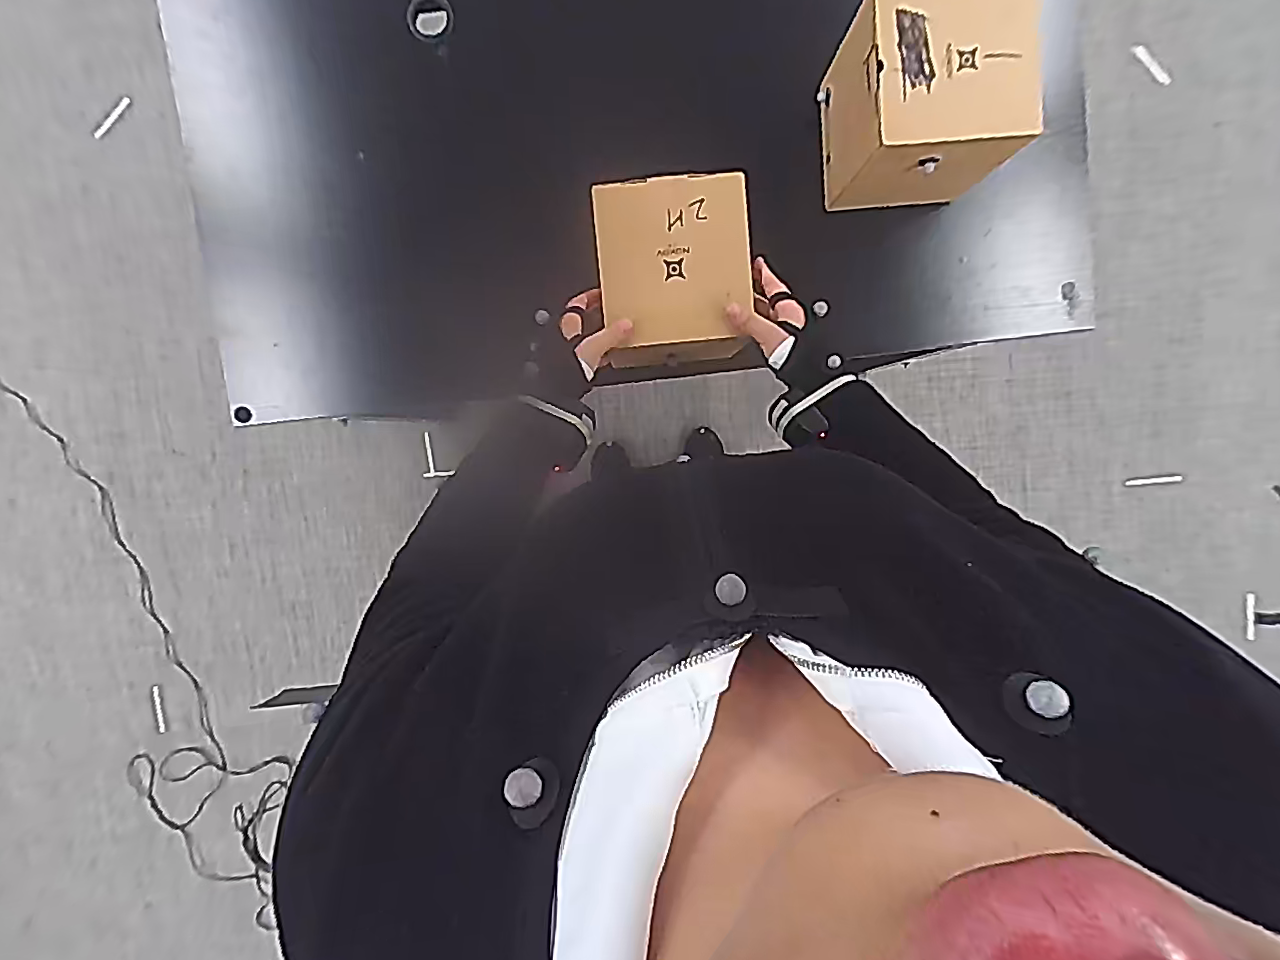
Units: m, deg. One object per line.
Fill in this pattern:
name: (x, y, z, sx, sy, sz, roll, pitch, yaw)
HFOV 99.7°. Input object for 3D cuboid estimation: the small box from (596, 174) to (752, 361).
small box: (0.039, -0.247, 0.673, 0.168, 0.176, 0.179, -5, 94, 0)

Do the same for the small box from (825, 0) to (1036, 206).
small box: (0.334, -0.451, 0.656, 0.179, 0.176, 0.168, -4, 95, 0)
